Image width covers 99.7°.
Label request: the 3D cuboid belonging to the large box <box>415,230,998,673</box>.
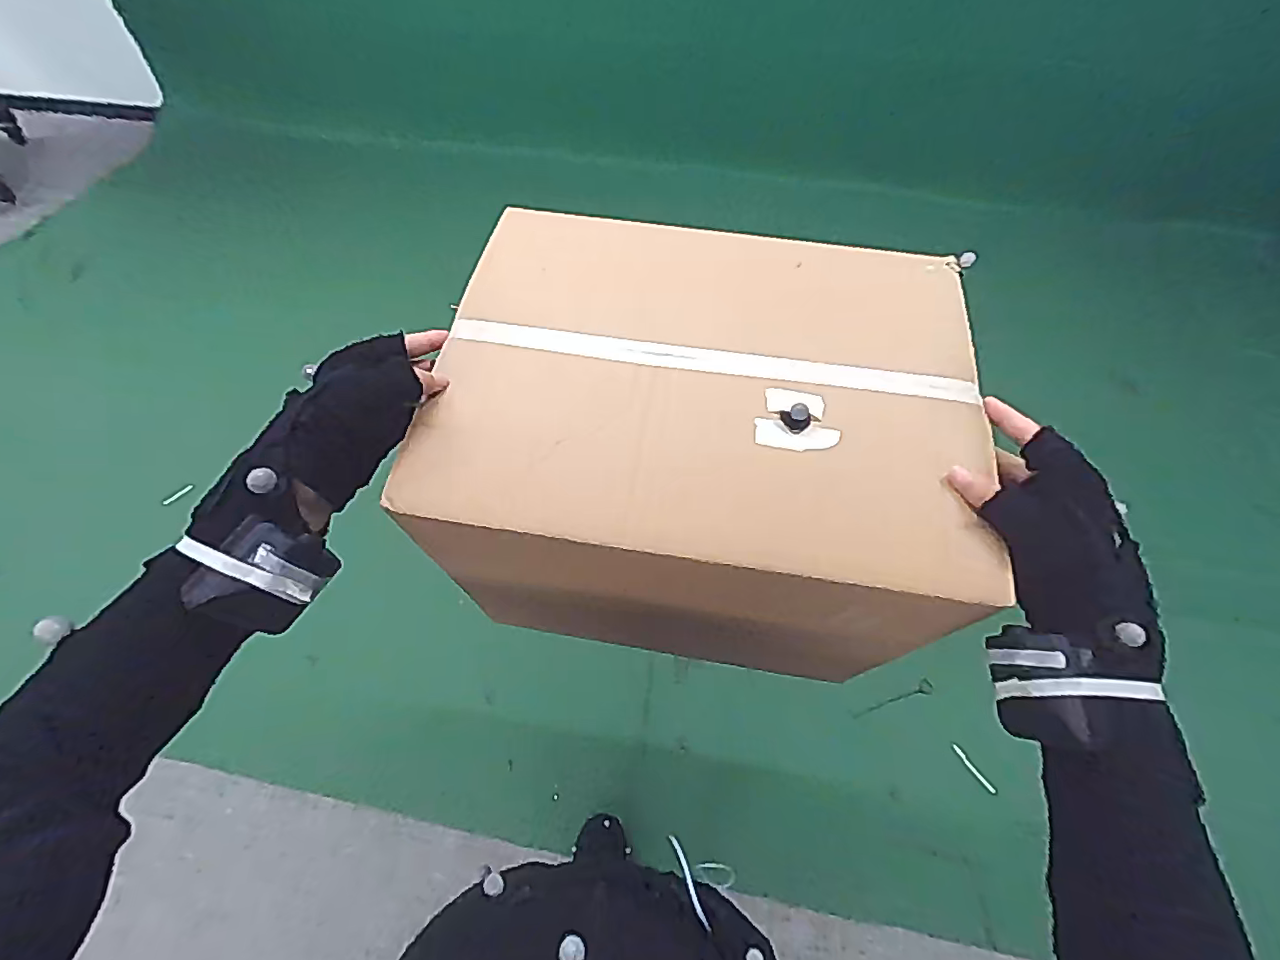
[{"bbox_3d":[0.055,-0.009,0.562,0.408,0.320,0.320,9,62,3],"label":"large box"}]
